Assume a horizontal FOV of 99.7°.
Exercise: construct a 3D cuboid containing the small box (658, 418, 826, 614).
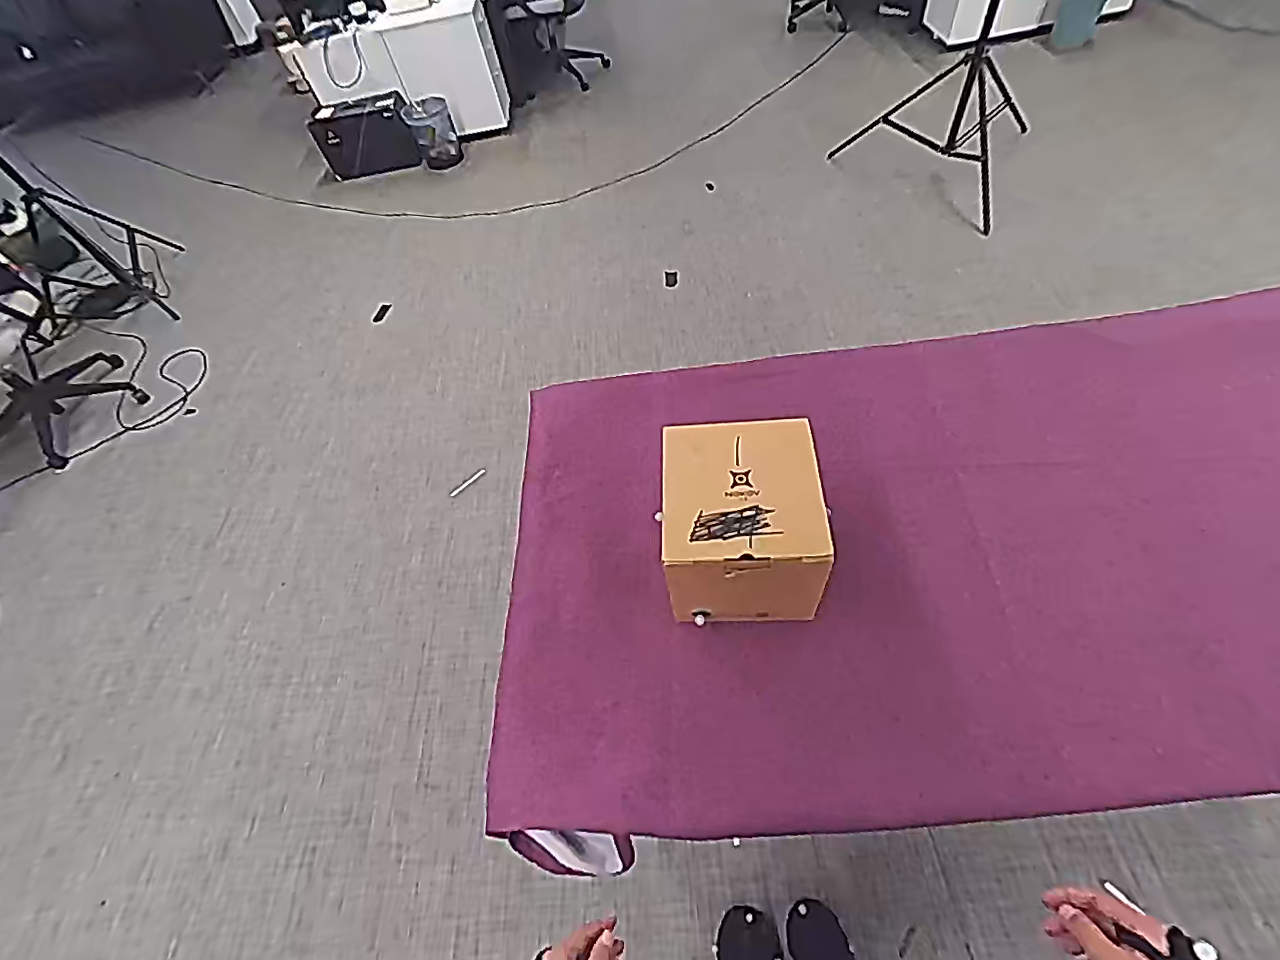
[{"bbox_3d":[0.113,0.050,0.636,0.168,0.176,0.179,-3,55,7],"label":"small box"}]
